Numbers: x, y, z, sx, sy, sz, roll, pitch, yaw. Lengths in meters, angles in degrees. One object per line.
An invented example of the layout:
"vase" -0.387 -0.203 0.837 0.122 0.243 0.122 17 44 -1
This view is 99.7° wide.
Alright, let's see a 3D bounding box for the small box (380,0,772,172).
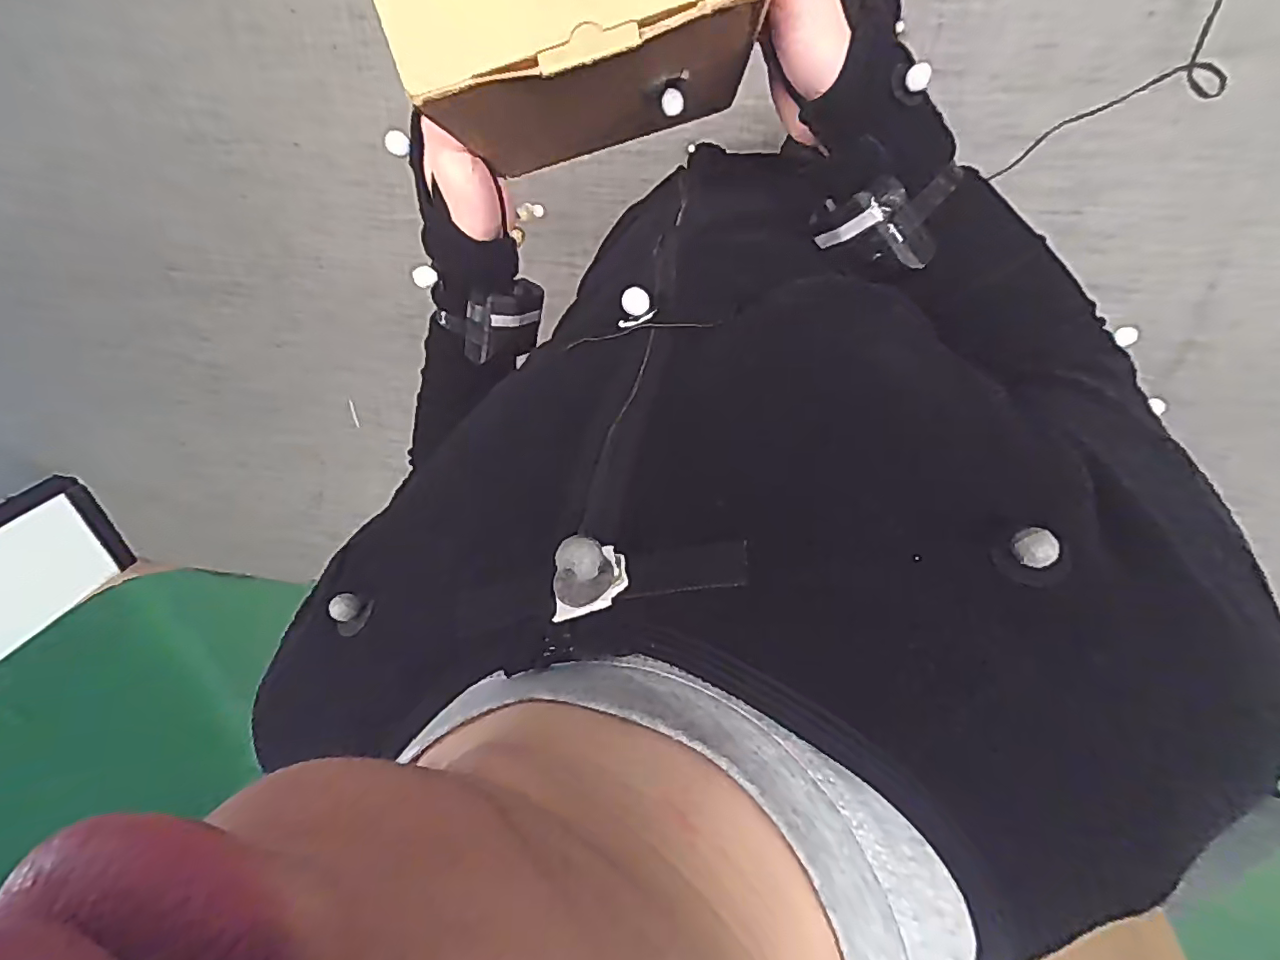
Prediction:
"small box" -0.038 -0.284 0.284 0.168 0.176 0.179 -14 107 6
